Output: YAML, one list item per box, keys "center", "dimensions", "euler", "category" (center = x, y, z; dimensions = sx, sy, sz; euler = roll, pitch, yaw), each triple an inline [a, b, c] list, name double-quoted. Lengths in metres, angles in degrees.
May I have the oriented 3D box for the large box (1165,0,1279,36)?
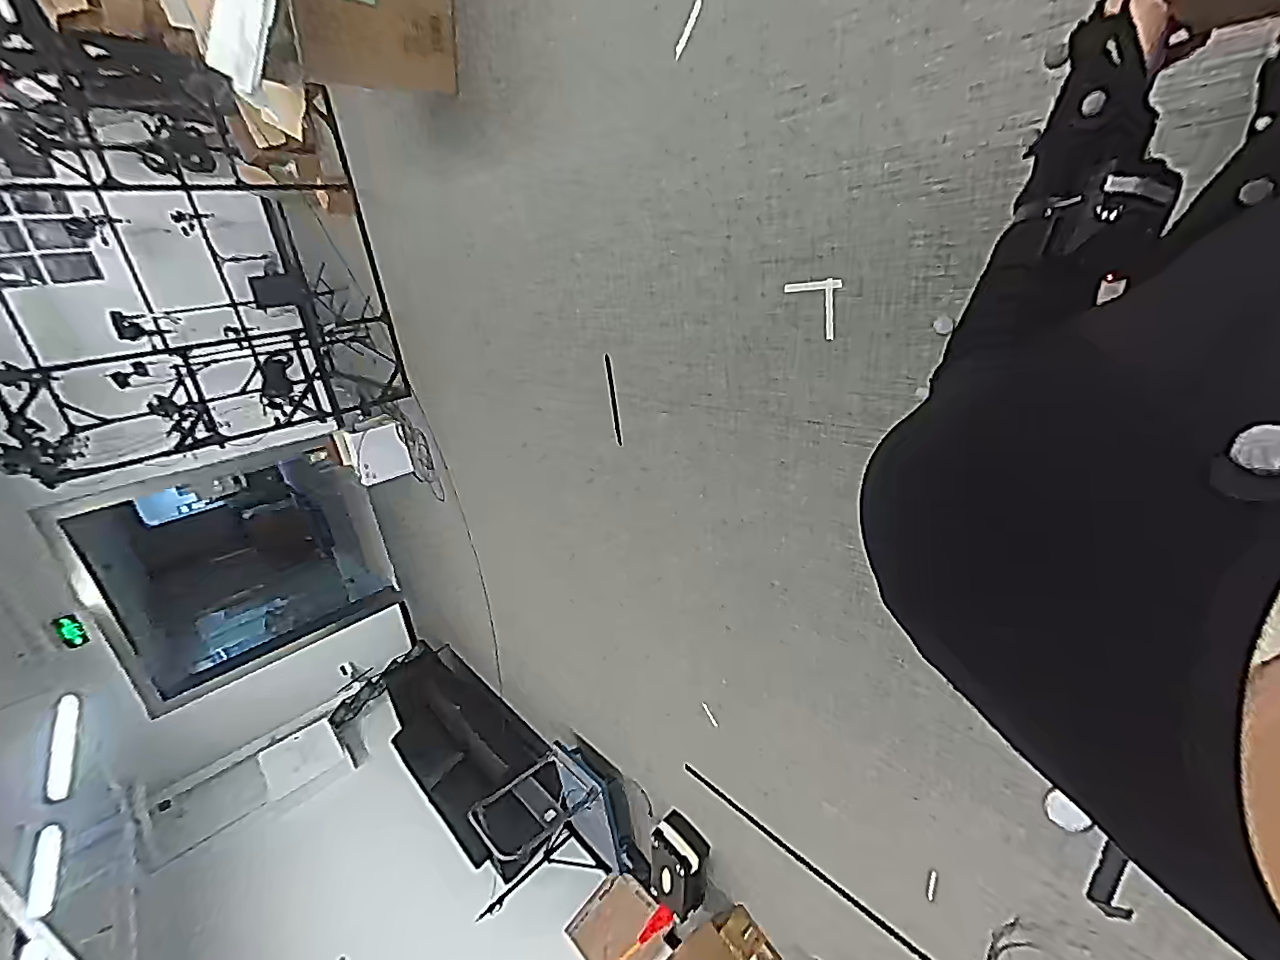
- center: [0.417, -0.361, 0.114]
  dimensions: [0.408, 0.320, 0.320]
  euler: [15, 126, 41]
  category: "large box"
